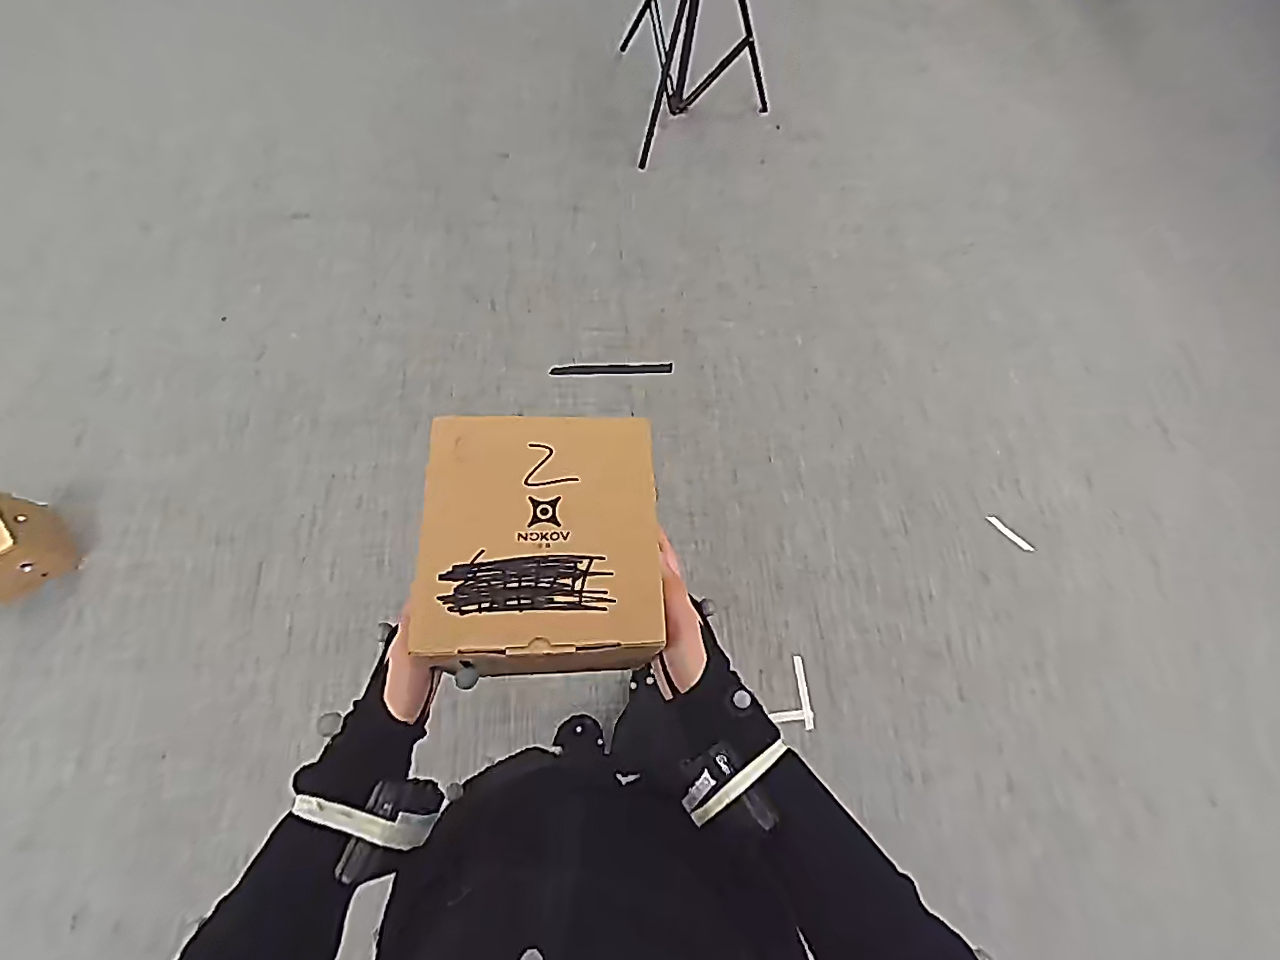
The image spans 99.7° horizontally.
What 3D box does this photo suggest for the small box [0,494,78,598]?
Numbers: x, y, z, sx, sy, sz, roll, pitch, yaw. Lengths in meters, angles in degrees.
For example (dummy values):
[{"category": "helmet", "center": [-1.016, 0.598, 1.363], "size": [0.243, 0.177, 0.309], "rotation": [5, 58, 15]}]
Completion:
[{"category": "small box", "center": [-1.441, 0.149, 1.212], "size": [0.168, 0.176, 0.179], "rotation": [-38, 77, -18]}]
